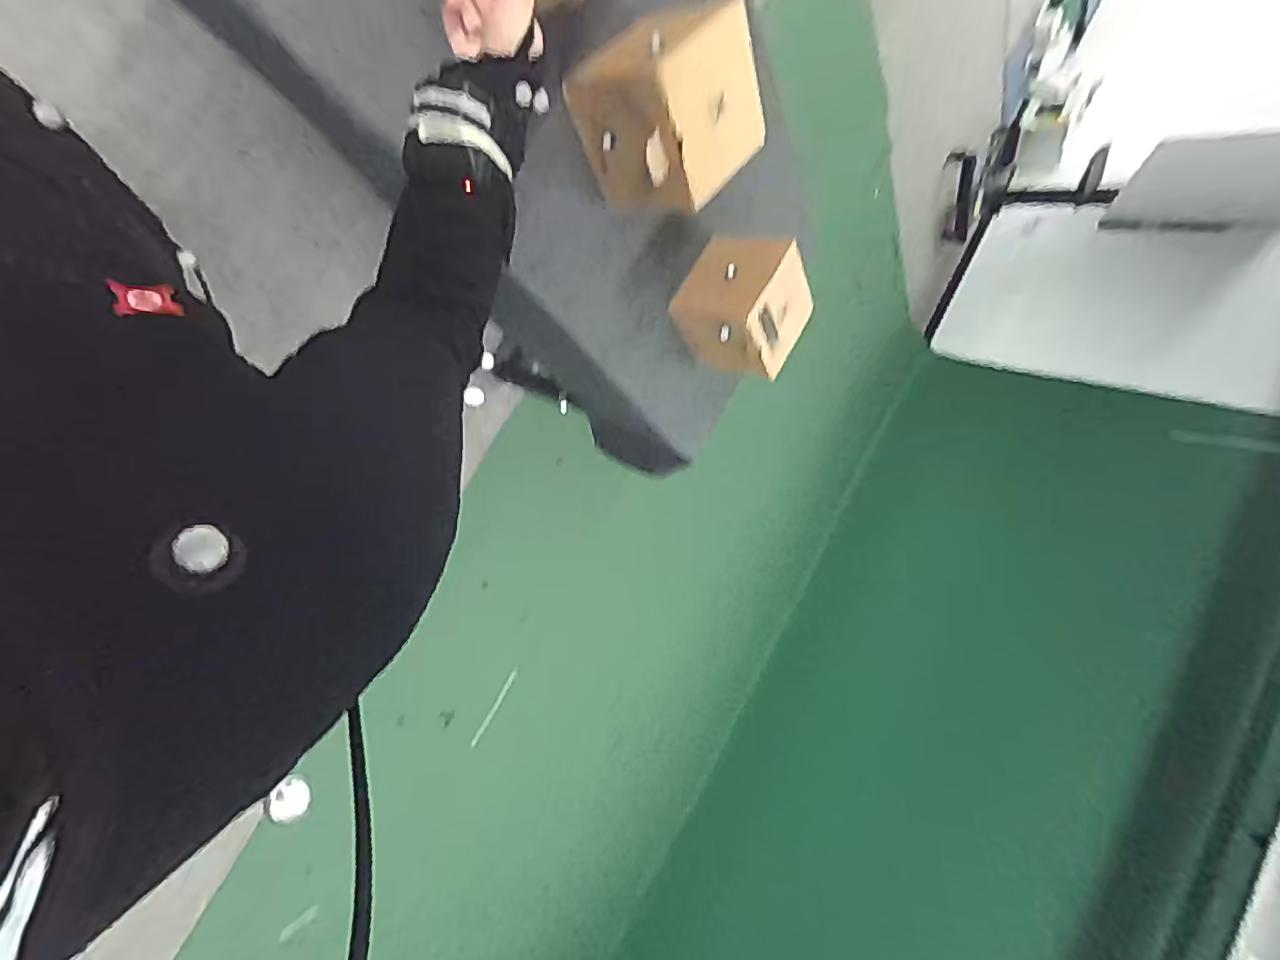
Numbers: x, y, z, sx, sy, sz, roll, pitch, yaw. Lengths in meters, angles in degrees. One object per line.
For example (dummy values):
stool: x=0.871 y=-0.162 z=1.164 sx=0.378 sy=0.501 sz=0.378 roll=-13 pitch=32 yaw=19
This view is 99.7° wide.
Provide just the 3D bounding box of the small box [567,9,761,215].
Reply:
small box: x=0.036 y=-0.484 z=0.725 sx=0.179 sy=0.176 sz=0.168 roll=-51 pitch=141 yaw=-19

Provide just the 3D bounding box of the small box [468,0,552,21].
small box: x=-0.116 y=-0.572 z=0.490 sx=0.168 sy=0.176 sz=0.179 roll=27 pitch=86 yaw=-54
